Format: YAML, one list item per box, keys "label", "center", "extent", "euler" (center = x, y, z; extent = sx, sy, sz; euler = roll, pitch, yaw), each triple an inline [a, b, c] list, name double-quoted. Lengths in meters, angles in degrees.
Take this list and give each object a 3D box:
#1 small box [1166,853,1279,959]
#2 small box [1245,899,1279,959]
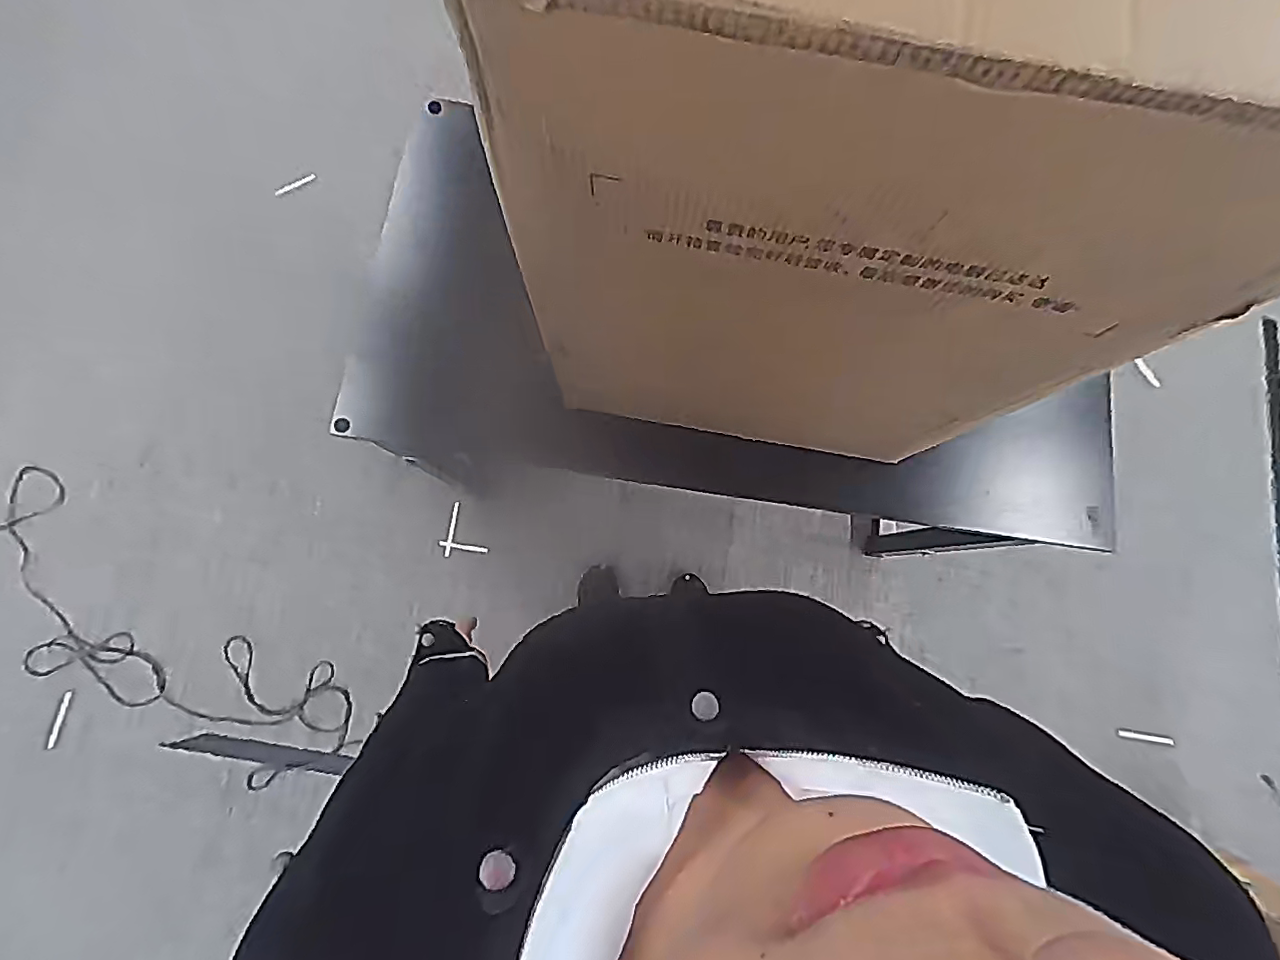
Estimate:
- label: "small box"
  center: [1.420, 1.018, 1.284]
  extent: [0.179, 0.176, 0.168]
  euler: [2, 79, -1]
- label: "small box"
  center: [1.424, 1.007, 1.120]
  extent: [0.179, 0.176, 0.168]
  euler: [1, 80, -2]
